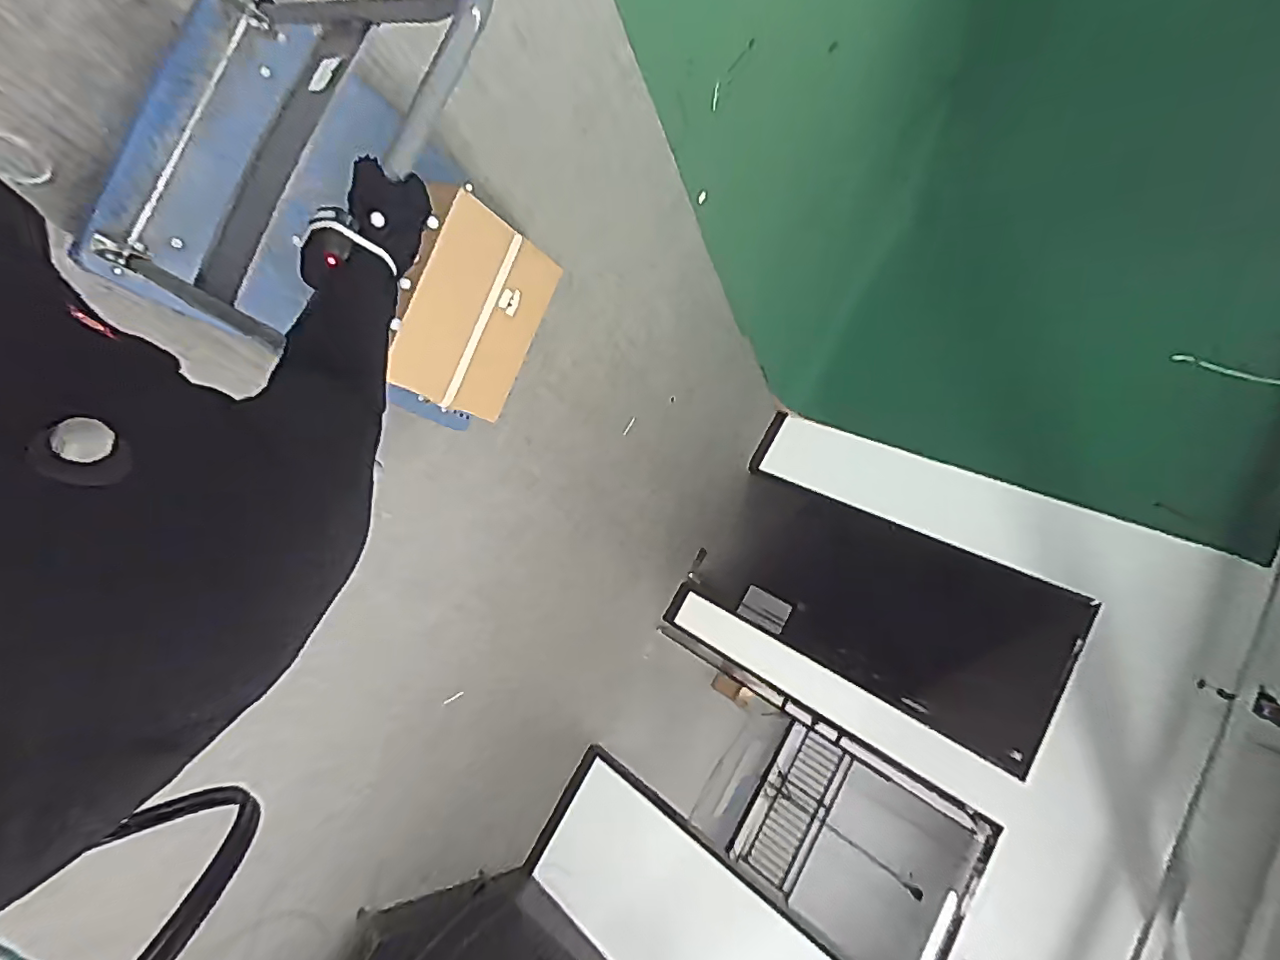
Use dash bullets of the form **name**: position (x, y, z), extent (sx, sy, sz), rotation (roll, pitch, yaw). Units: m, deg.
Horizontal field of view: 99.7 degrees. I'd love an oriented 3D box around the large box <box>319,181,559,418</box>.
- **large box**: position (-0.458, -0.404, 1.242), extent (0.320, 0.320, 0.408), rotation (20, 93, -58)
